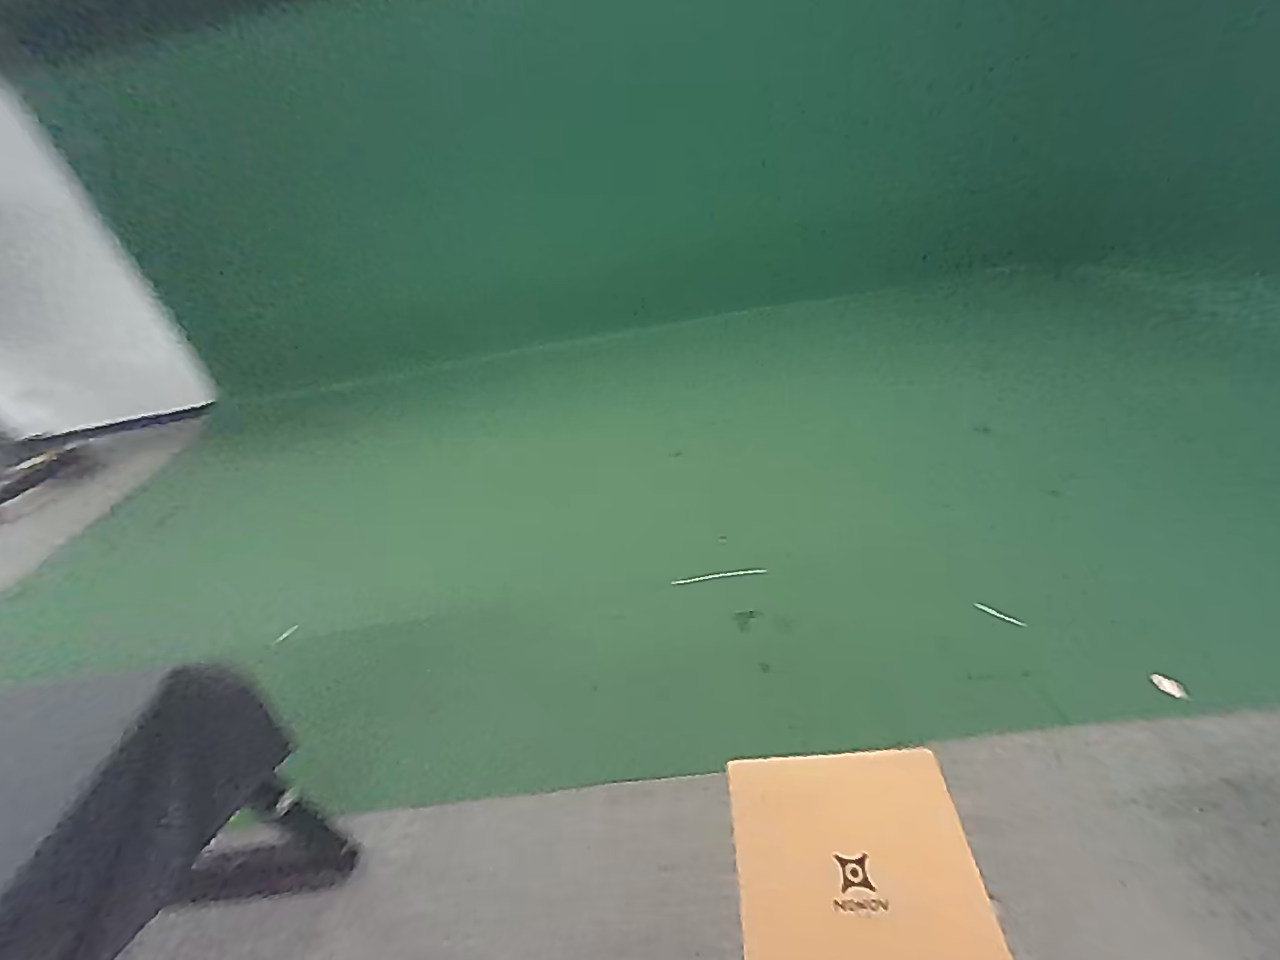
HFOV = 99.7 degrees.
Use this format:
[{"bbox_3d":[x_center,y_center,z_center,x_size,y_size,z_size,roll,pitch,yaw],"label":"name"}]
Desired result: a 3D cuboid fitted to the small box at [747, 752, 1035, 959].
[{"bbox_3d":[0.178,0.341,0.420,0.168,0.176,0.179,-8,37,9],"label":"small box"}]
